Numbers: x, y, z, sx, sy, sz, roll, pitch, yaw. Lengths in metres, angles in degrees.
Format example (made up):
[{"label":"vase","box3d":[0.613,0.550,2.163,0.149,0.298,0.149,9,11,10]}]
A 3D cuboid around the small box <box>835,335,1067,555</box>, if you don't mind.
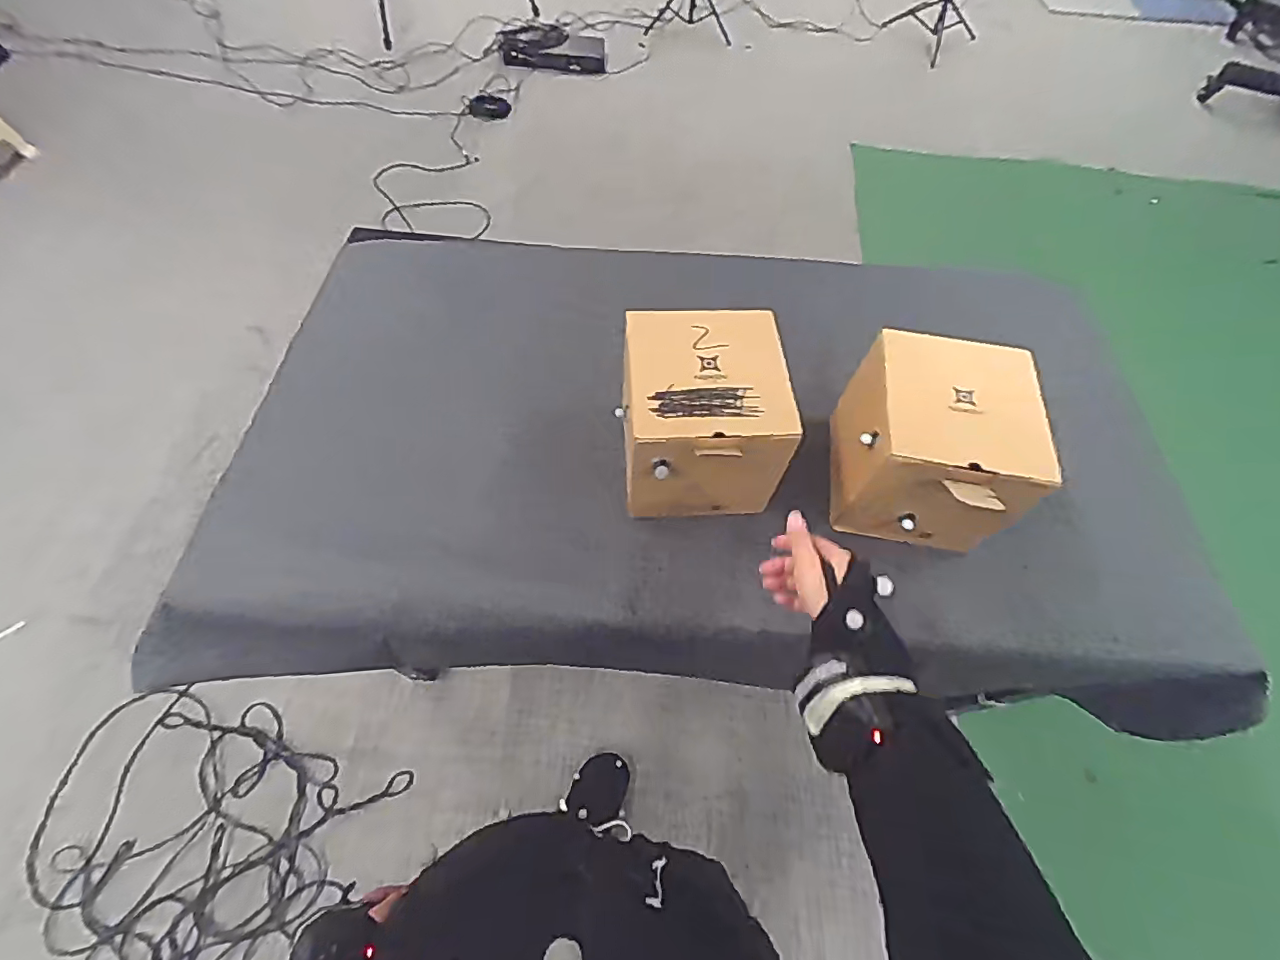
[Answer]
[{"label":"small box","box3d":[0.336,-0.035,0.628,0.168,0.176,0.179,10,60,2]}]
